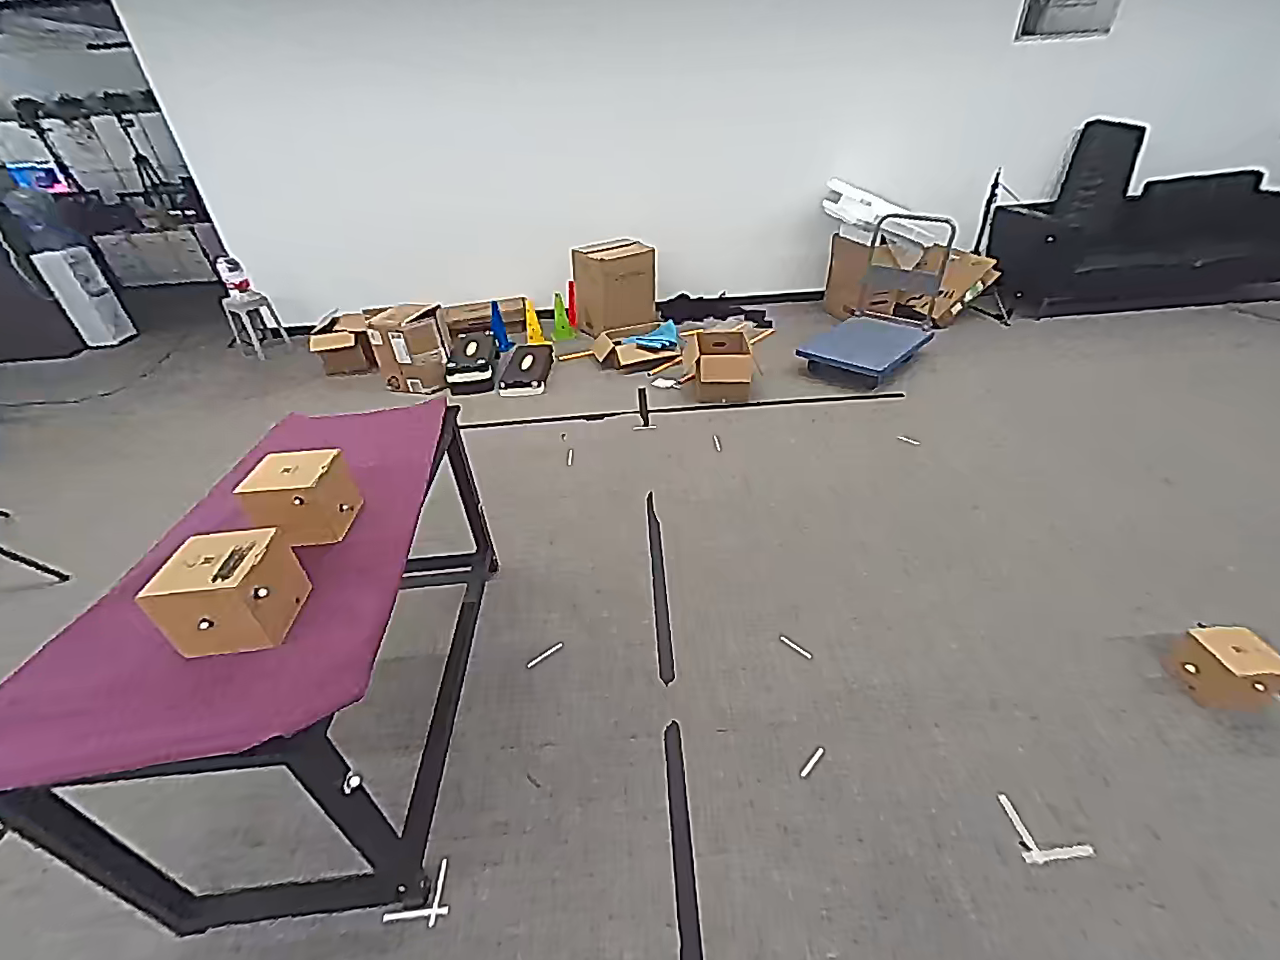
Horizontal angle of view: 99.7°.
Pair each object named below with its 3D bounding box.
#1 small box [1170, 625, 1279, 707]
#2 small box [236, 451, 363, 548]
[{"bbox_3d":[1.746,0.556,1.610,0.179,0.176,0.168,-3,35,1],"label":"small box"},{"bbox_3d":[-0.805,0.048,1.300,0.179,0.176,0.168,-5,35,-2],"label":"small box"}]
